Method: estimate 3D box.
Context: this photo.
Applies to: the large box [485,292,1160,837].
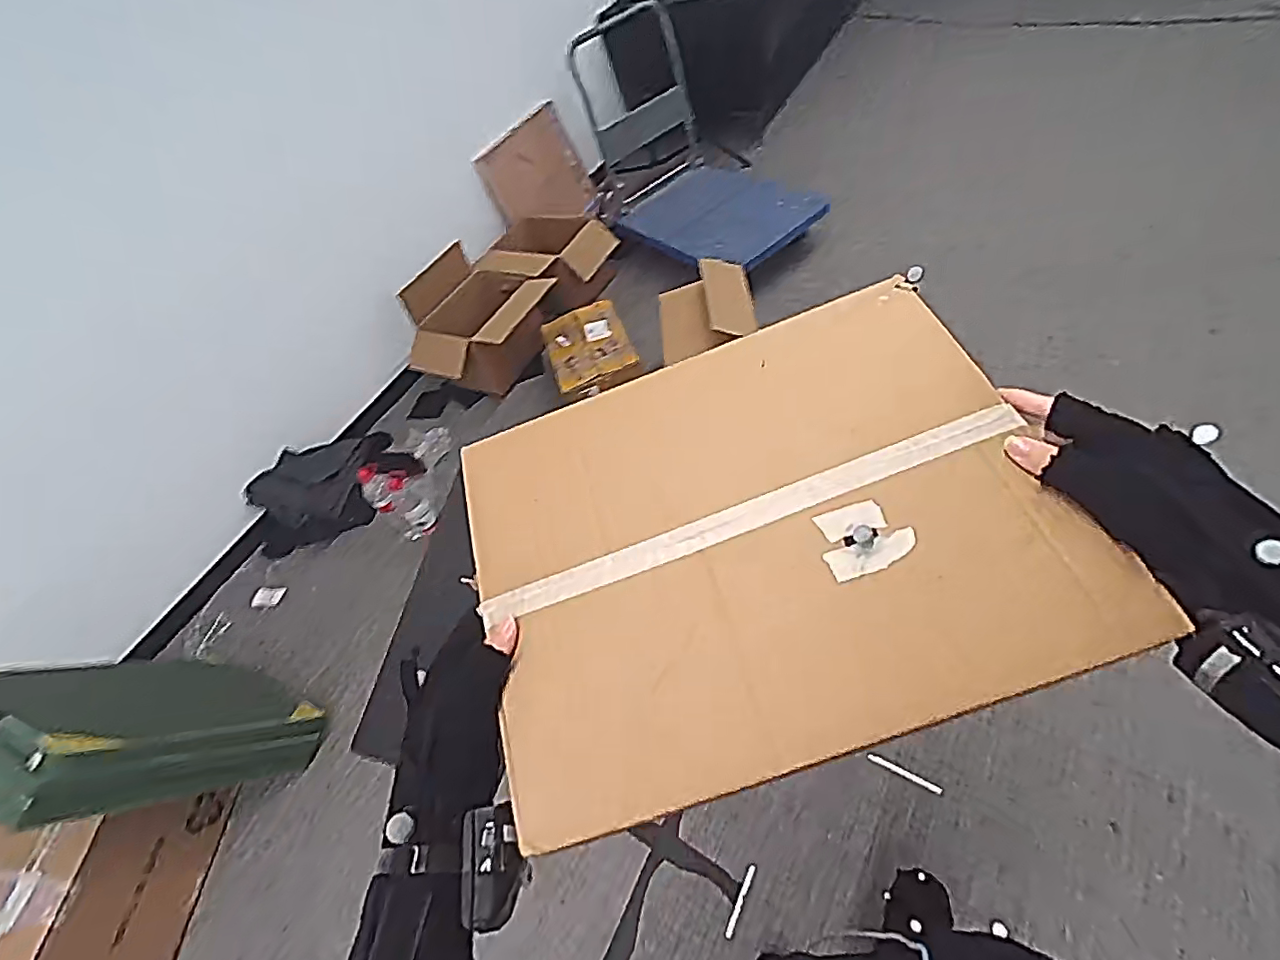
[{"bbox_3d":[0.116,0.099,0.532,0.408,0.320,0.320,-21,60,3],"label":"large box"}]
